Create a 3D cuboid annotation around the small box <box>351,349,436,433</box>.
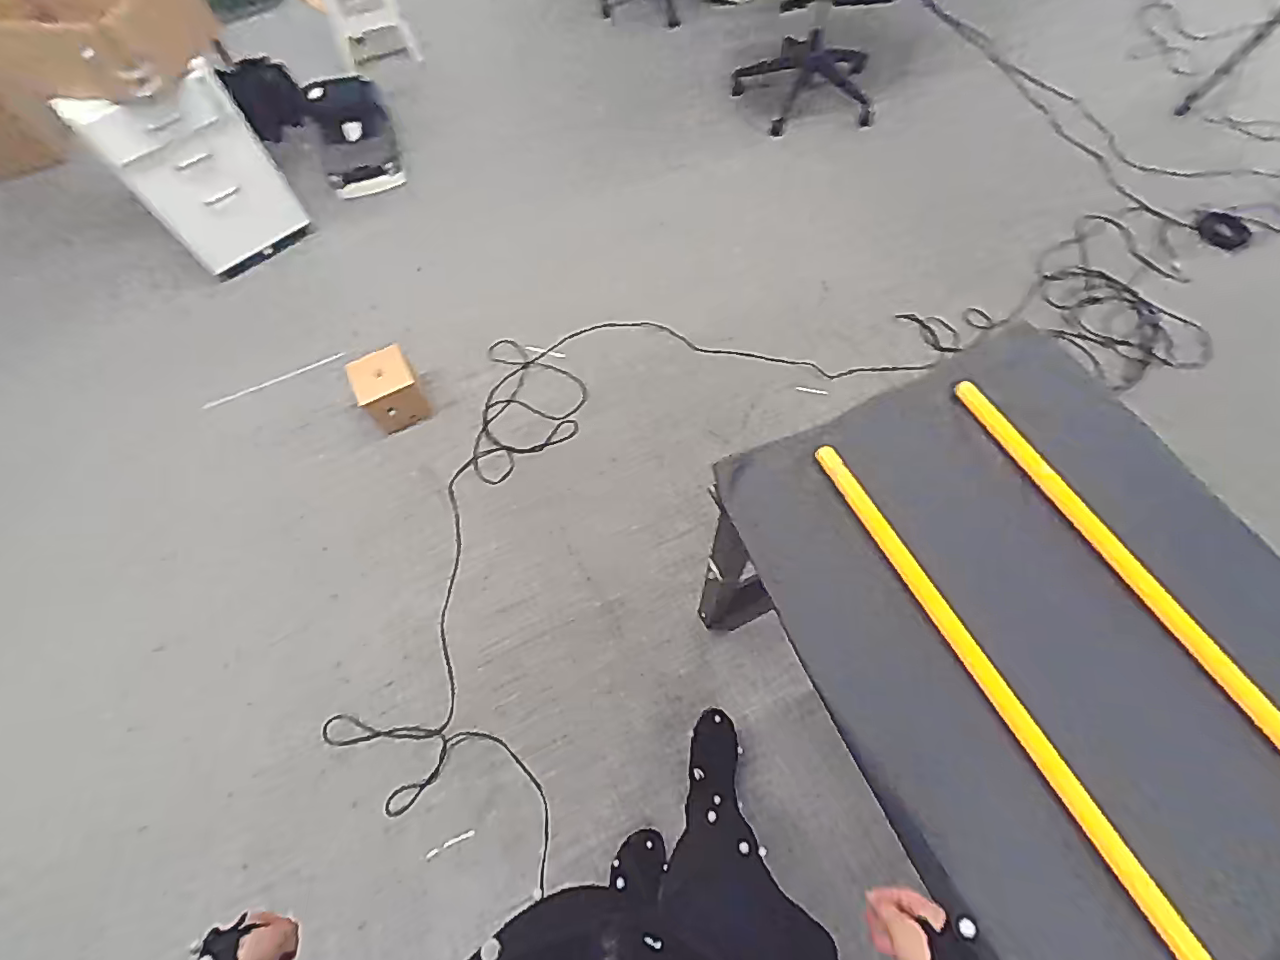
[{"bbox_3d":[-0.763,-0.268,1.688,0.168,0.176,0.179,-27,65,-10],"label":"small box"}]
